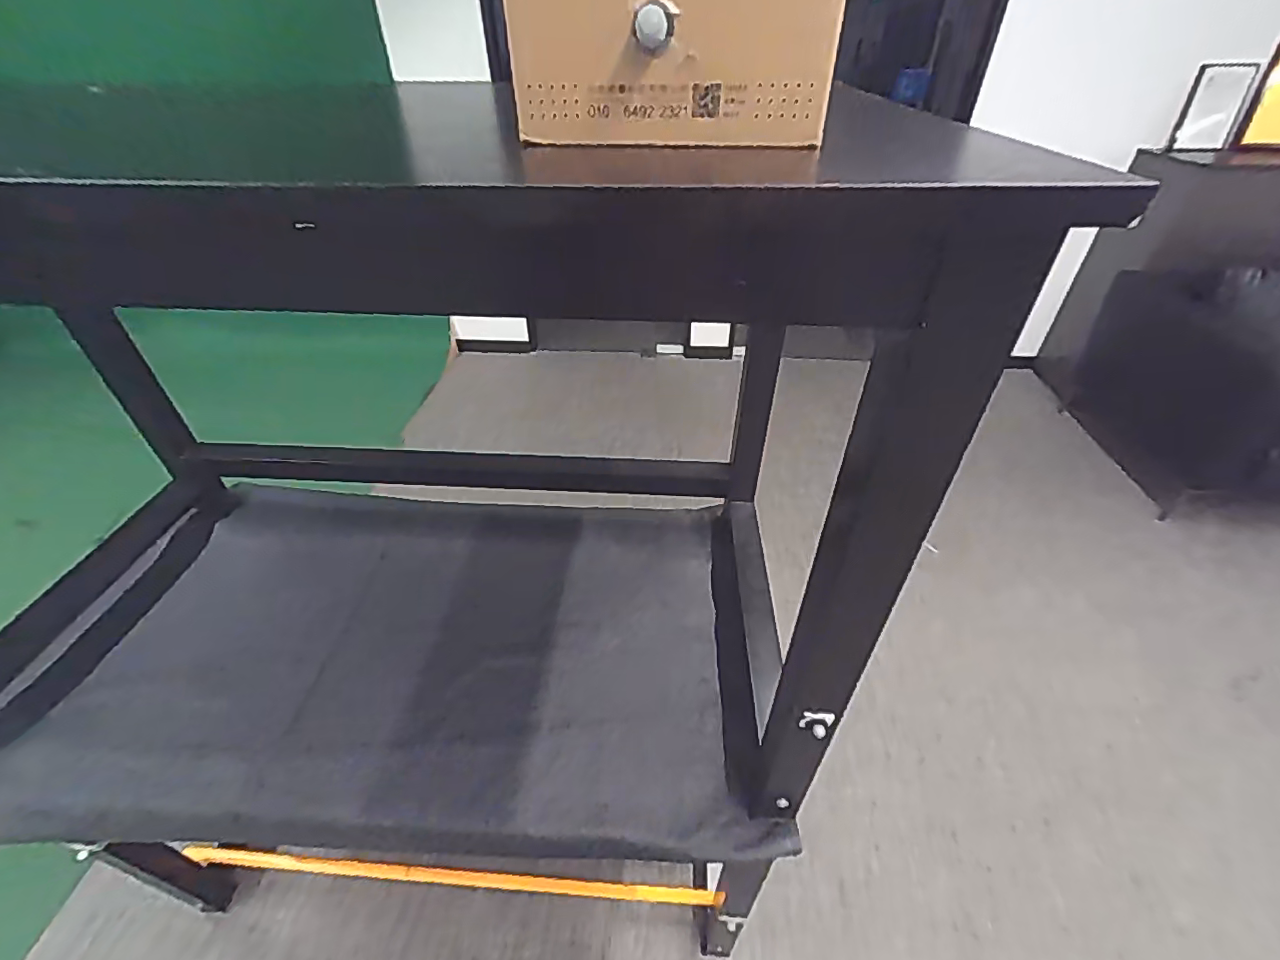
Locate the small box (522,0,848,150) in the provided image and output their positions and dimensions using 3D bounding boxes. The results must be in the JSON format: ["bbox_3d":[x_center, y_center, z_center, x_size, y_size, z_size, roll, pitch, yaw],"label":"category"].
[{"bbox_3d":[0.030,-0.300,0.306,0.168,0.176,0.179,5,40,8],"label":"small box"}]
